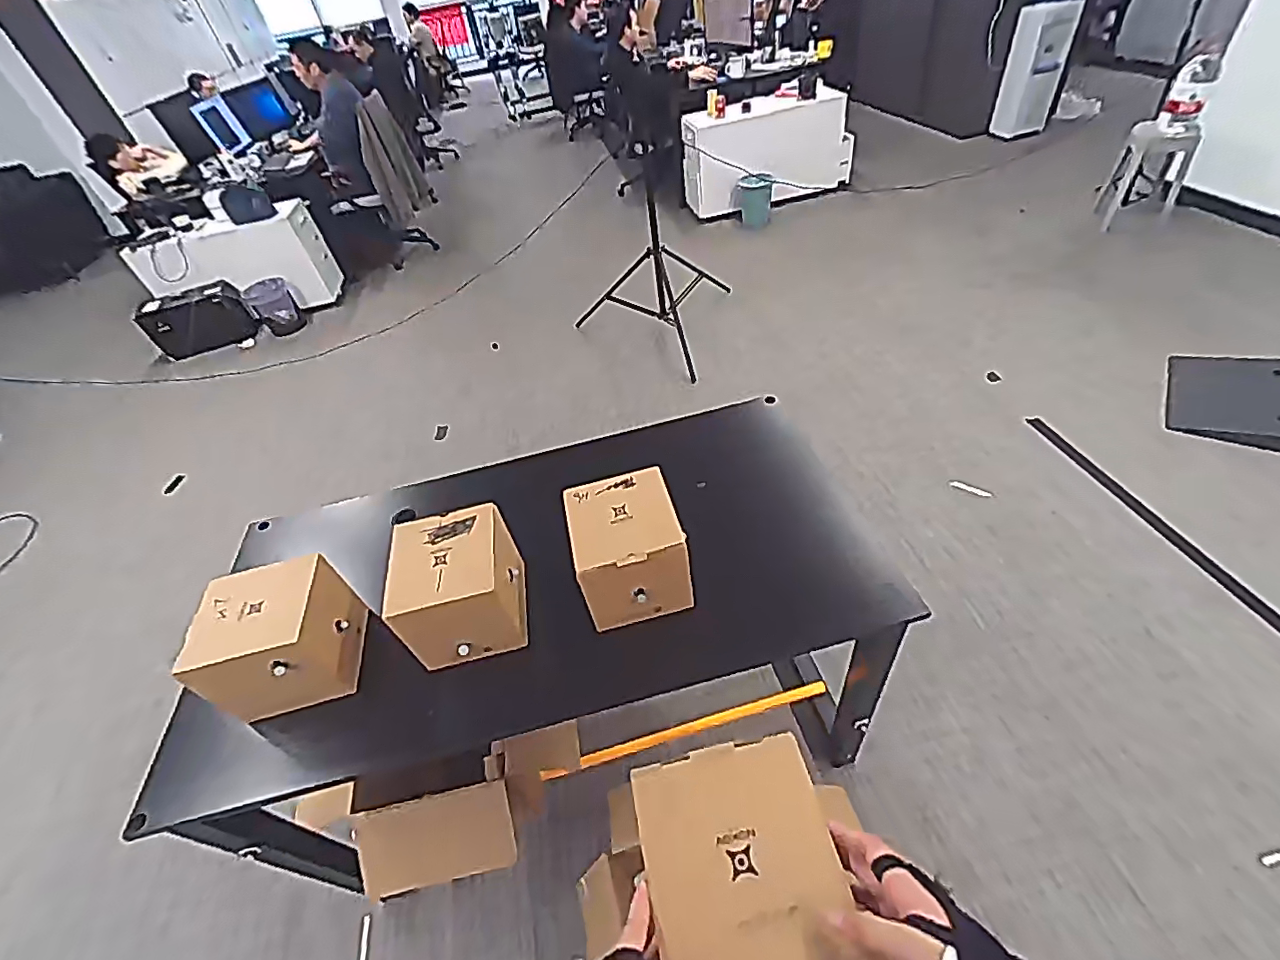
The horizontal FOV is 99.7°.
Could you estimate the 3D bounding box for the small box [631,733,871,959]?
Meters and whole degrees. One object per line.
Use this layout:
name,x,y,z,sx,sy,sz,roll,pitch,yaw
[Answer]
small box,0.091,0.379,0.529,0.168,0.176,0.179,-12,49,-4

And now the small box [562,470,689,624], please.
small box,-0.022,0.117,0.891,0.168,0.176,0.179,-14,45,-3

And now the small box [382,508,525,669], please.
small box,-0.291,0.177,0.882,0.168,0.176,0.179,-14,45,-2

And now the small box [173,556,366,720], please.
small box,-0.565,0.252,0.859,0.179,0.176,0.168,-15,44,-4
